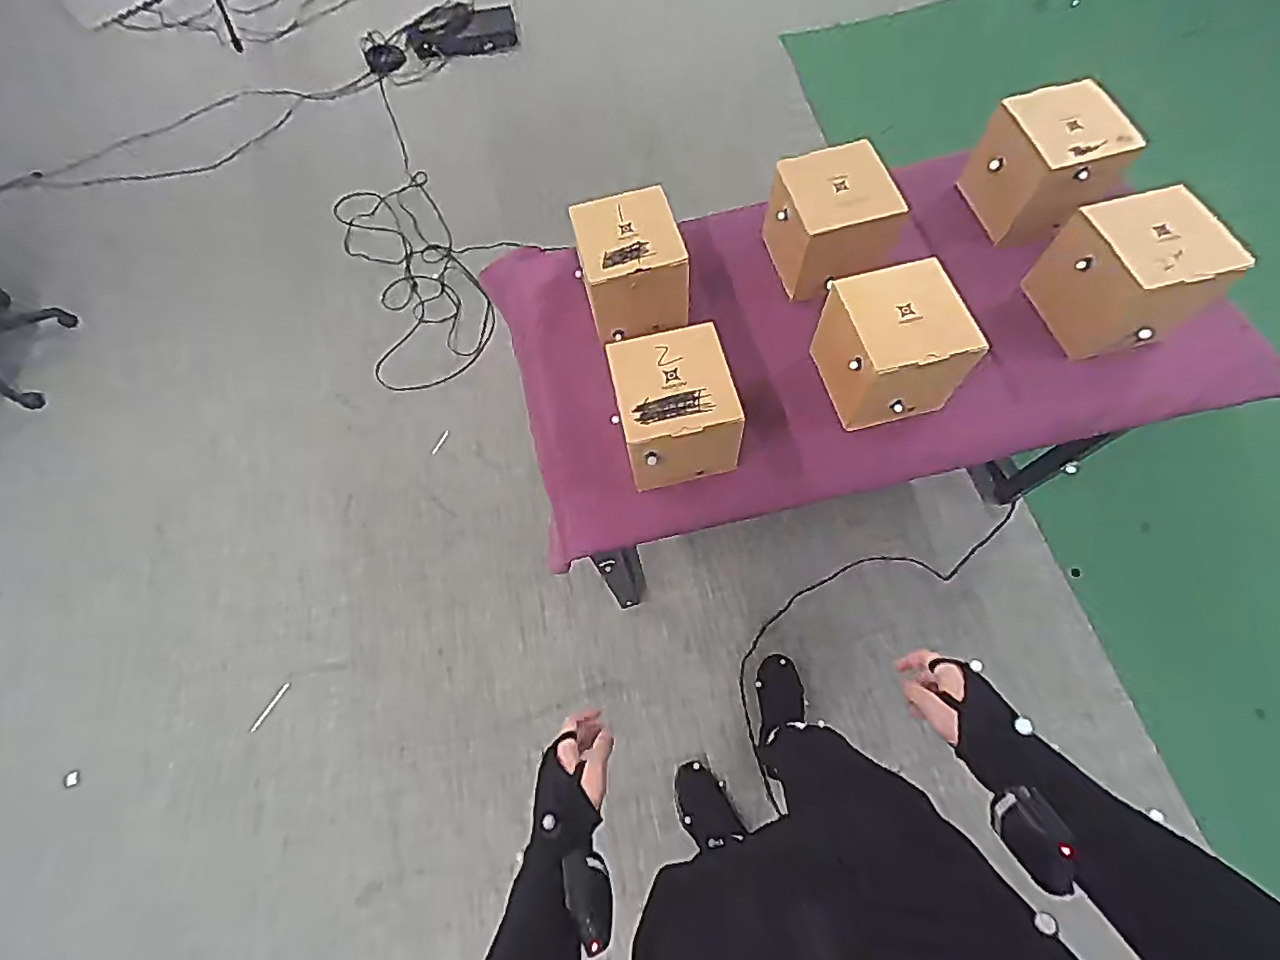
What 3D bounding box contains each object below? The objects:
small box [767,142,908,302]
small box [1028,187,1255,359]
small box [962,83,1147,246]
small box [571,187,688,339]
[{"bbox_3d":[0.336,-0.452,0.963,0.168,0.176,0.179,-13,68,0],"label":"small box"},{"bbox_3d":[0.777,-0.325,0.867,0.168,0.176,0.179,-13,66,1],"label":"small box"},{"bbox_3d":[0.723,-0.559,0.971,0.168,0.176,0.179,-14,68,0],"label":"small box"},{"bbox_3d":[-0.013,-0.371,0.957,0.168,0.176,0.179,-14,67,-2],"label":"small box"}]
